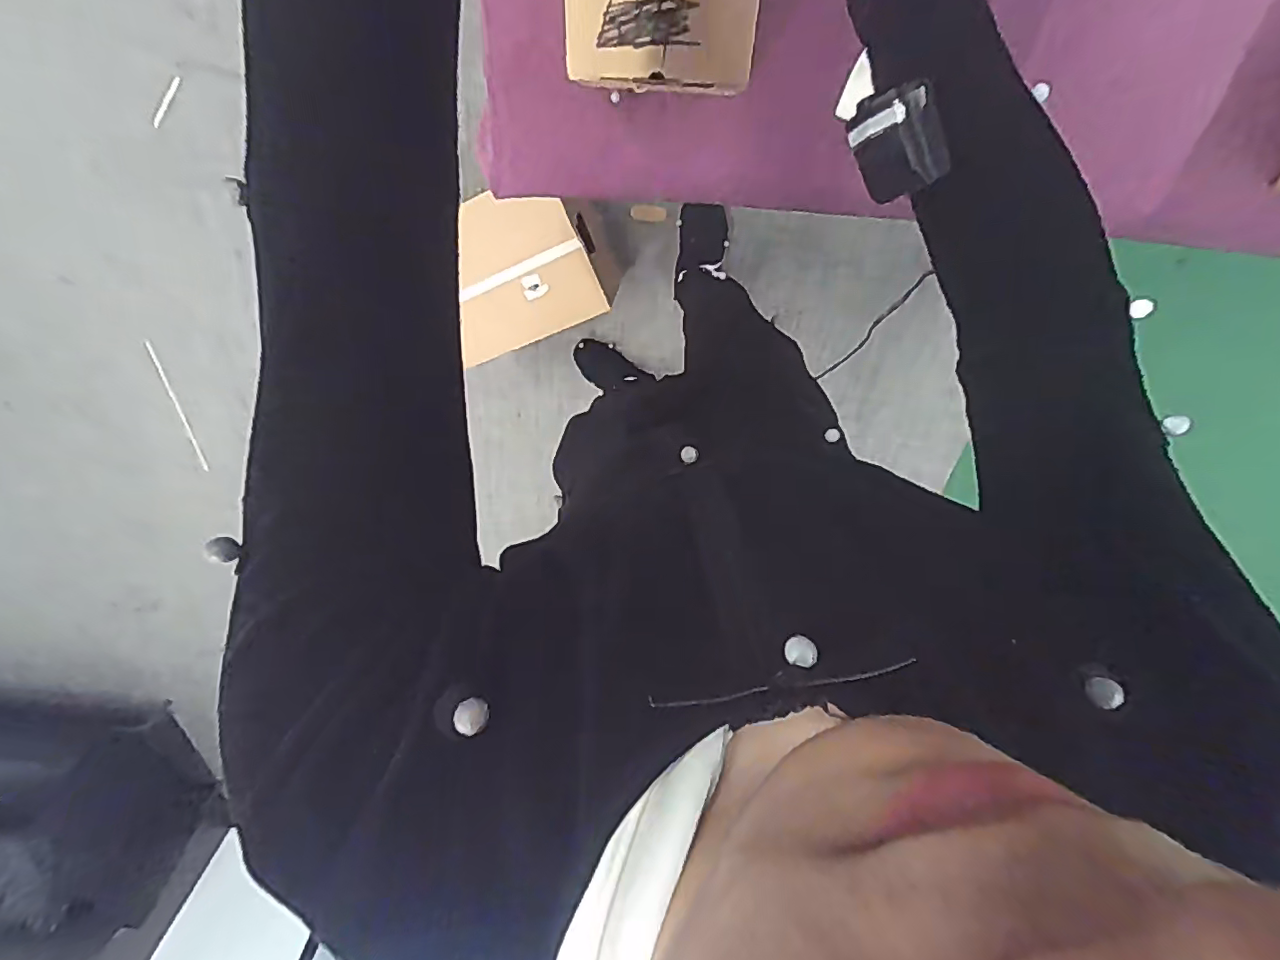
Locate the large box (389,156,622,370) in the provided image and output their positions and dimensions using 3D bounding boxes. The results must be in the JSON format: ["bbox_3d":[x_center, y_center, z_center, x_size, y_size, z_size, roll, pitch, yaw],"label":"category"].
[{"bbox_3d":[-0.291,-0.522,1.295,0.408,0.320,0.320,-18,121,15],"label":"large box"}]

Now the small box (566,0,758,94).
[{"bbox_3d":[0.026,-0.473,0.503,0.168,0.176,0.179,4,123,1],"label":"small box"}]
